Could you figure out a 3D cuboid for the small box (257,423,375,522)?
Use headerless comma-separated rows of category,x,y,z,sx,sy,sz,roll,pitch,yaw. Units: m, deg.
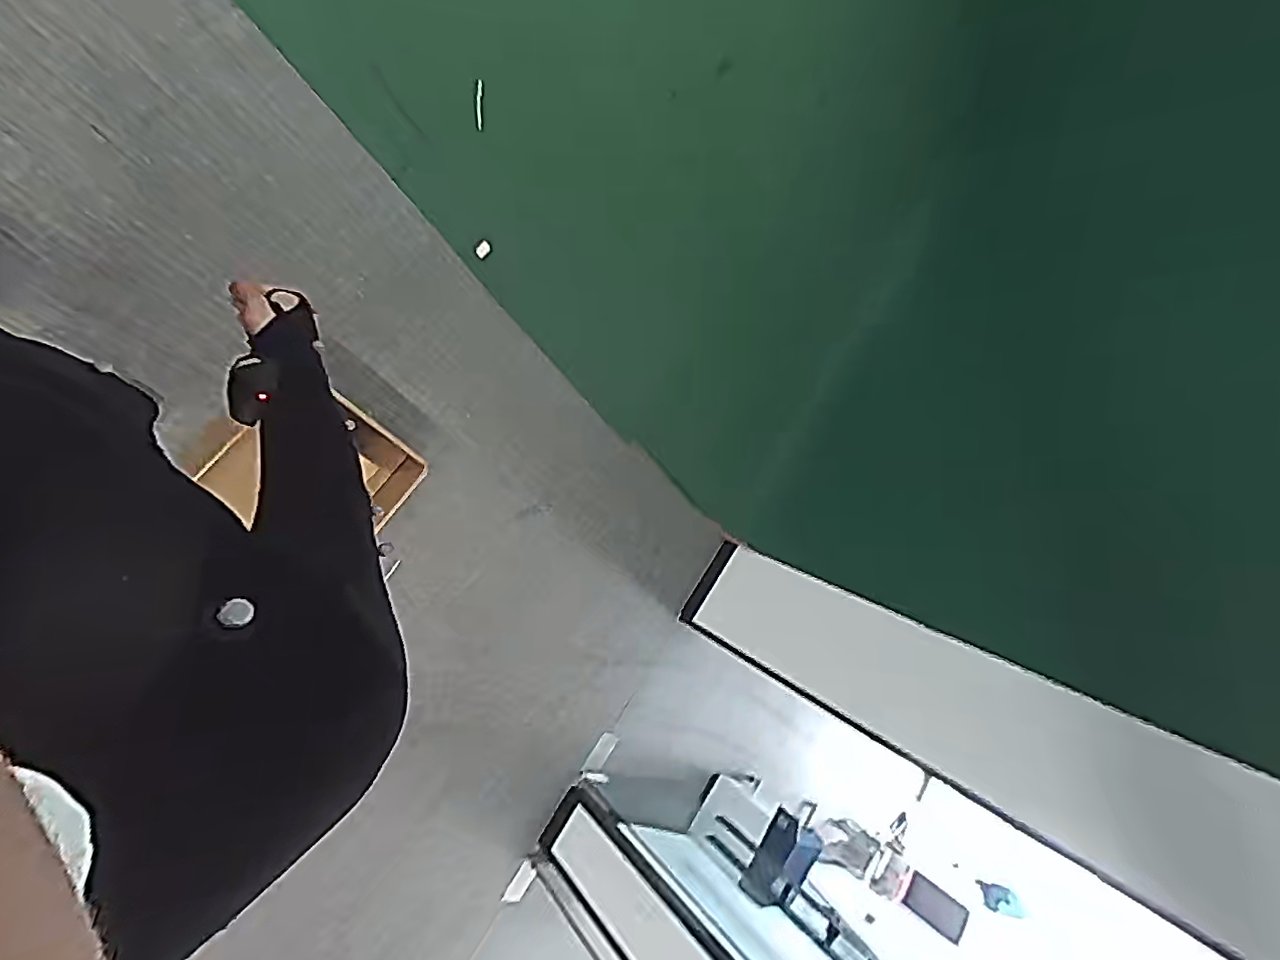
small box,-0.812,-0.026,1.350,0.168,0.176,0.179,-54,134,-14
